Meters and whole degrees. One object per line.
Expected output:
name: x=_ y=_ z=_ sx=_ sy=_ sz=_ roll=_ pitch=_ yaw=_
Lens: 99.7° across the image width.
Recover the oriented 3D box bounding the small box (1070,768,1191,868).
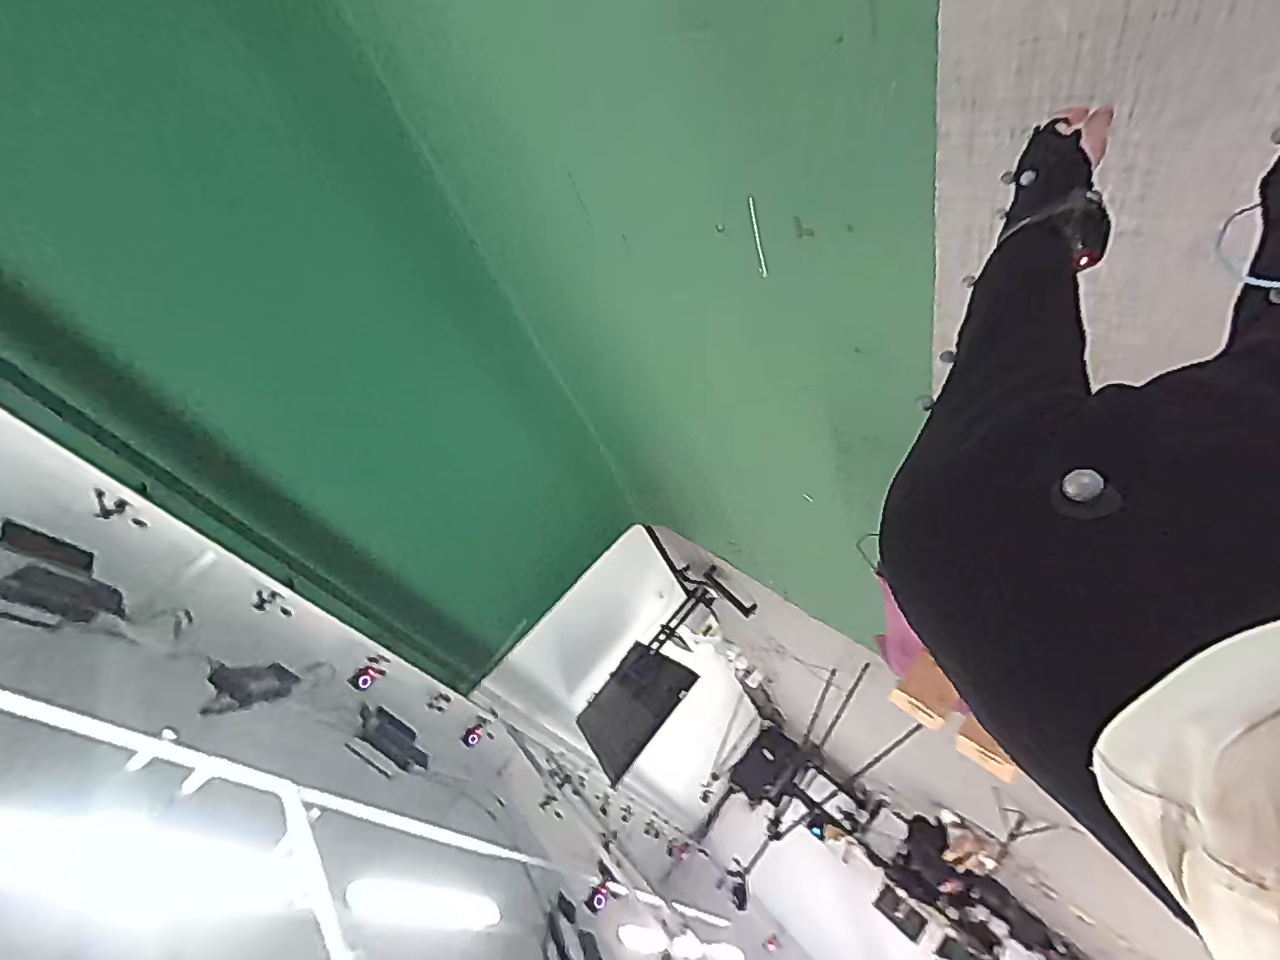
small box: x=1.357 y=0.931 z=1.502 sx=0.179 sy=0.176 sz=0.168 roll=33 pitch=159 yaw=35
